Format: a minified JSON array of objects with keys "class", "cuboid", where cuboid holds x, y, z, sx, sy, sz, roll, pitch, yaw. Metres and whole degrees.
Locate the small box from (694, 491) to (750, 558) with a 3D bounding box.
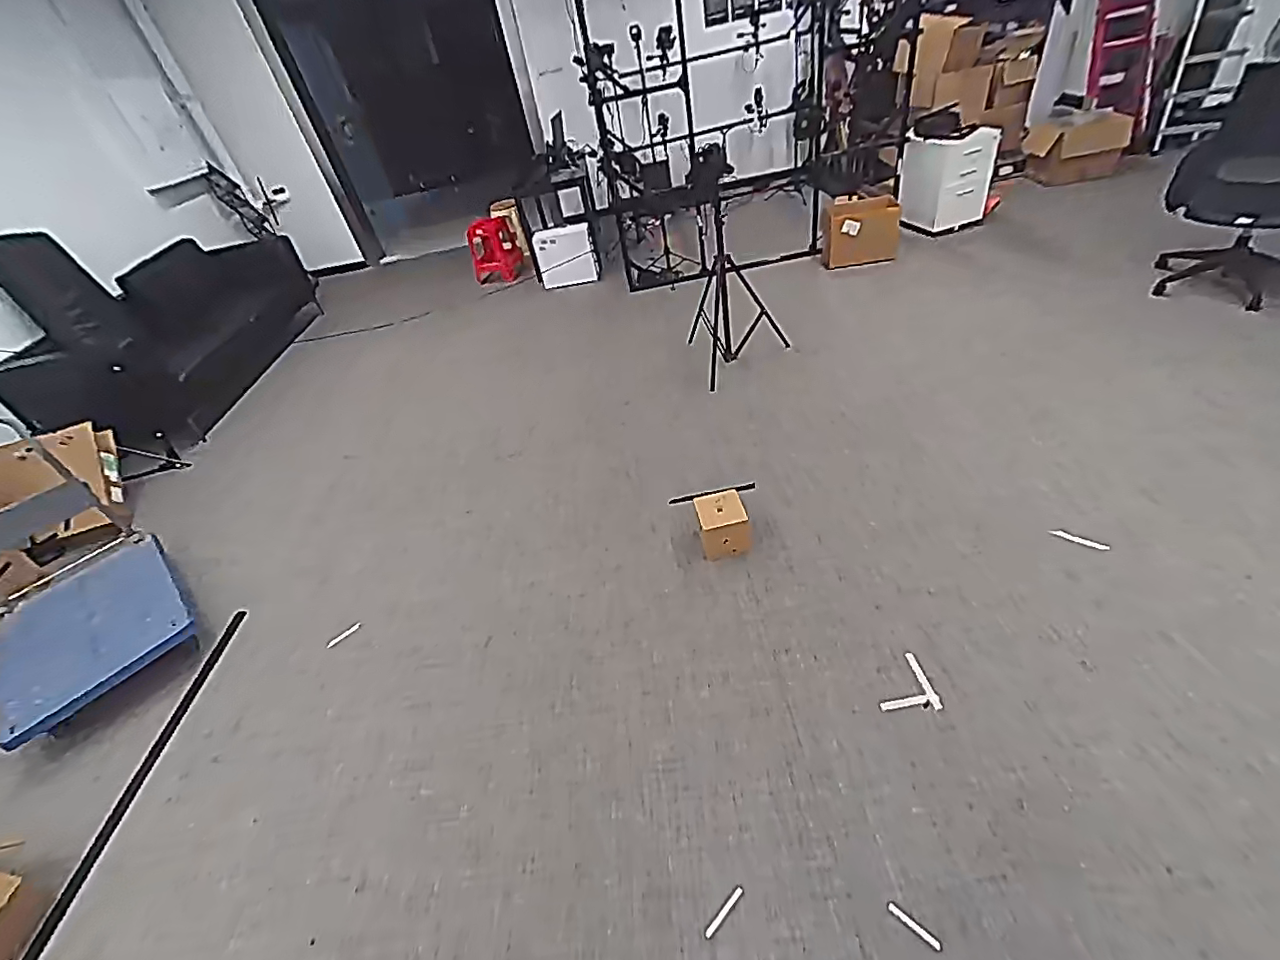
[{"class":"small box","cuboid":[0.305,0.170,2.006,0.168,0.176,0.179,-13,39,0]}]
